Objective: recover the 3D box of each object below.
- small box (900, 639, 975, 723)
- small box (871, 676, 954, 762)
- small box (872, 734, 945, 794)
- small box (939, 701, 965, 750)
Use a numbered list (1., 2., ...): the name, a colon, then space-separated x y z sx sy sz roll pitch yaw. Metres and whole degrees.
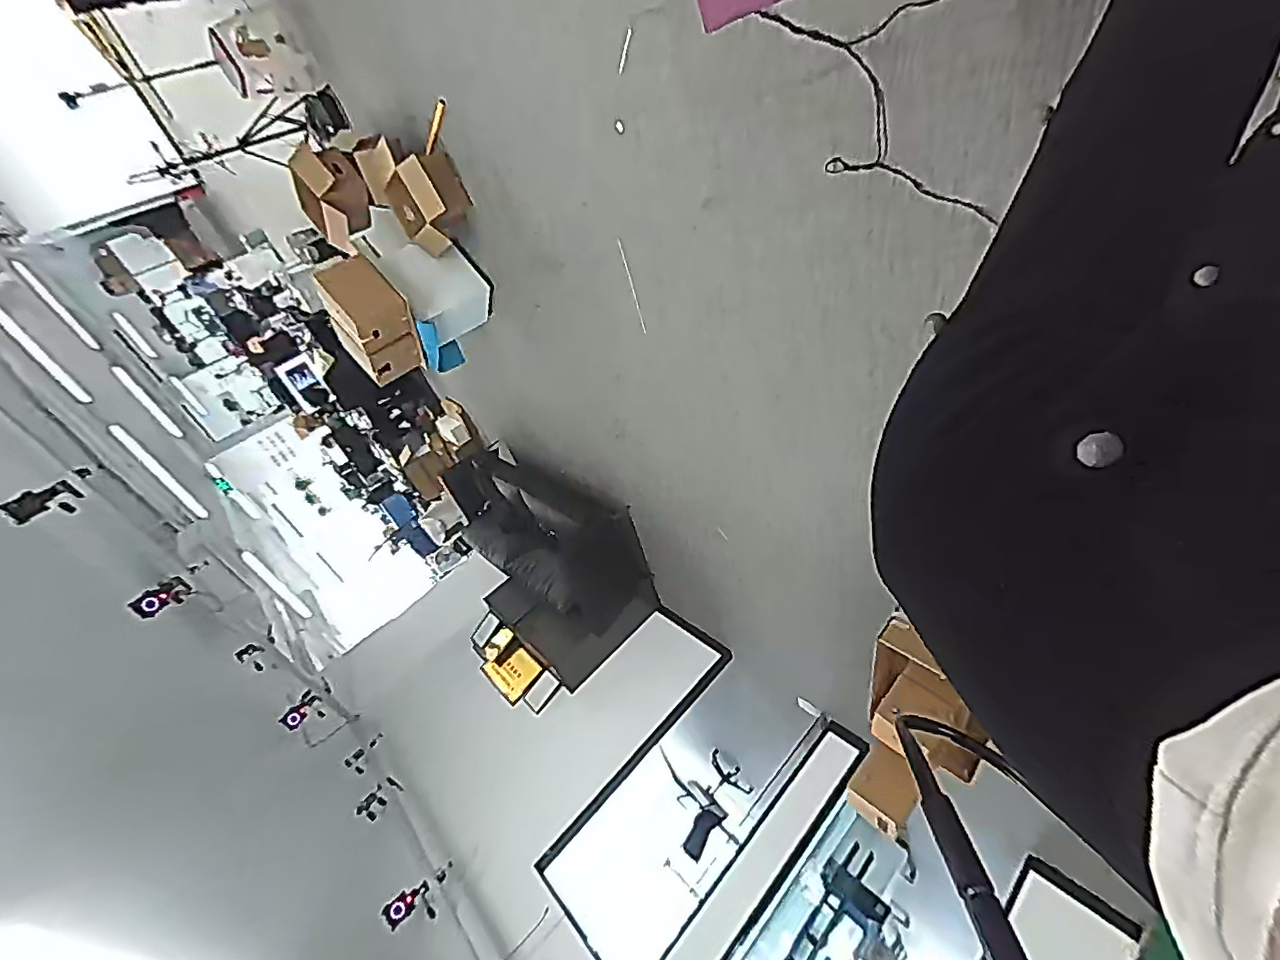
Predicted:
1. small box: 1.002 0.675 1.832 0.179 0.176 0.168 28 148 39
2. small box: 0.884 0.768 1.762 0.179 0.176 0.168 29 149 38
3. small box: 0.954 0.967 1.931 0.179 0.176 0.168 24 144 41
4. small box: 1.069 0.874 2.004 0.179 0.176 0.168 27 146 40
